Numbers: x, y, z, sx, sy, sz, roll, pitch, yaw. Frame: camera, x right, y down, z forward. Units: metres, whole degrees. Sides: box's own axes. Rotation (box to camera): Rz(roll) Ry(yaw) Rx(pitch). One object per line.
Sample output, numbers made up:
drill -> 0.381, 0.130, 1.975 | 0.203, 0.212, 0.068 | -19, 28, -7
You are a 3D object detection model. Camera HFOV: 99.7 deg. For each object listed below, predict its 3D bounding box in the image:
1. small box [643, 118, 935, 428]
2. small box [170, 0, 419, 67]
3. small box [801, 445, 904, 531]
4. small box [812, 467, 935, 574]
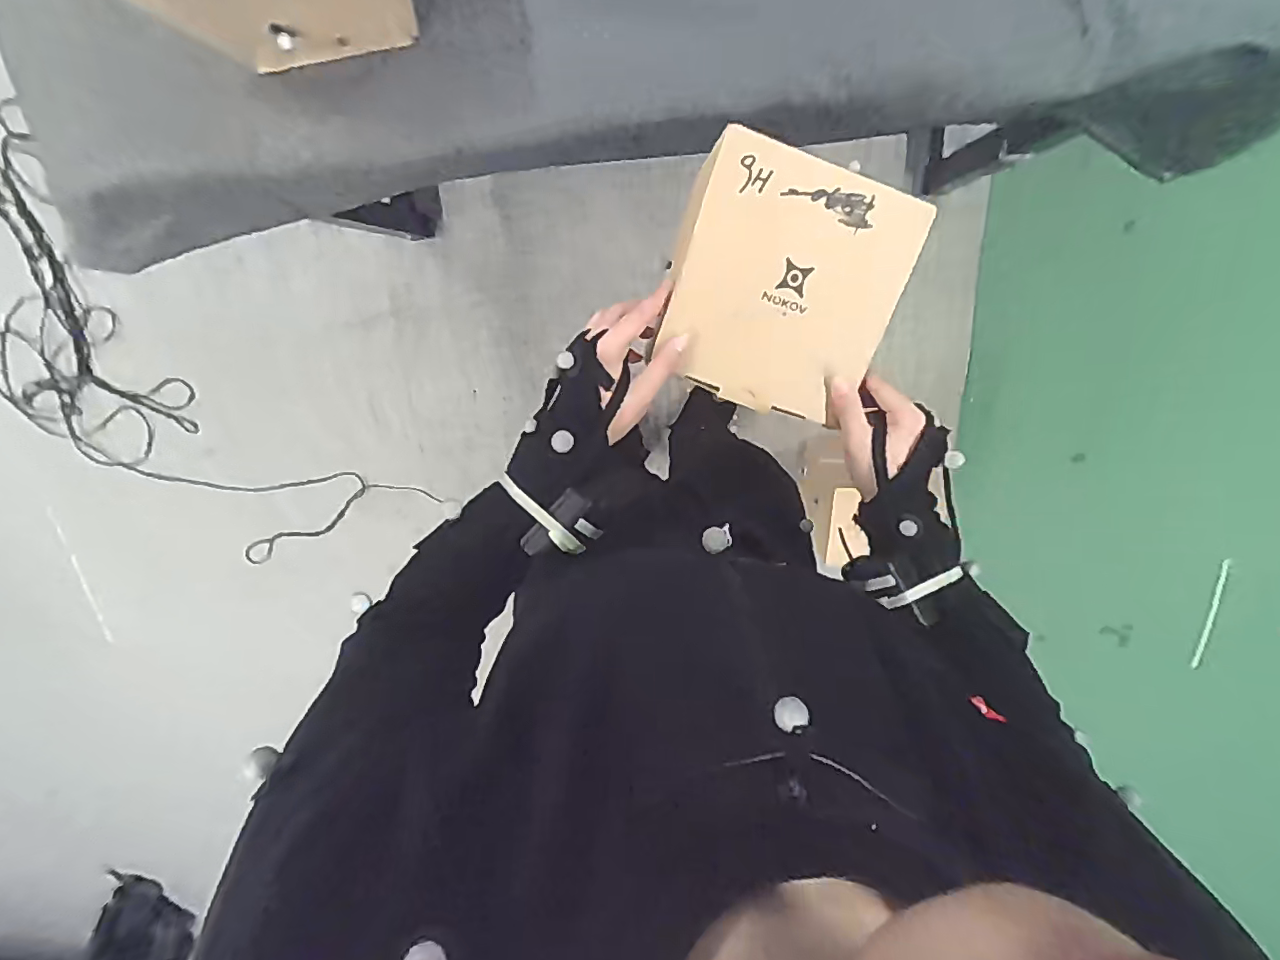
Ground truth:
small box -> 0.106, -0.168, 0.473 | 0.168, 0.176, 0.179 | 17, 107, -7
small box -> -0.296, -0.457, 0.406 | 0.168, 0.176, 0.179 | -5, 108, 7
small box -> 0.481, 0.018, 1.248 | 0.179, 0.176, 0.168 | 3, 107, 7
small box -> 0.462, 0.075, 1.094 | 0.179, 0.176, 0.168 | 3, 107, 6
